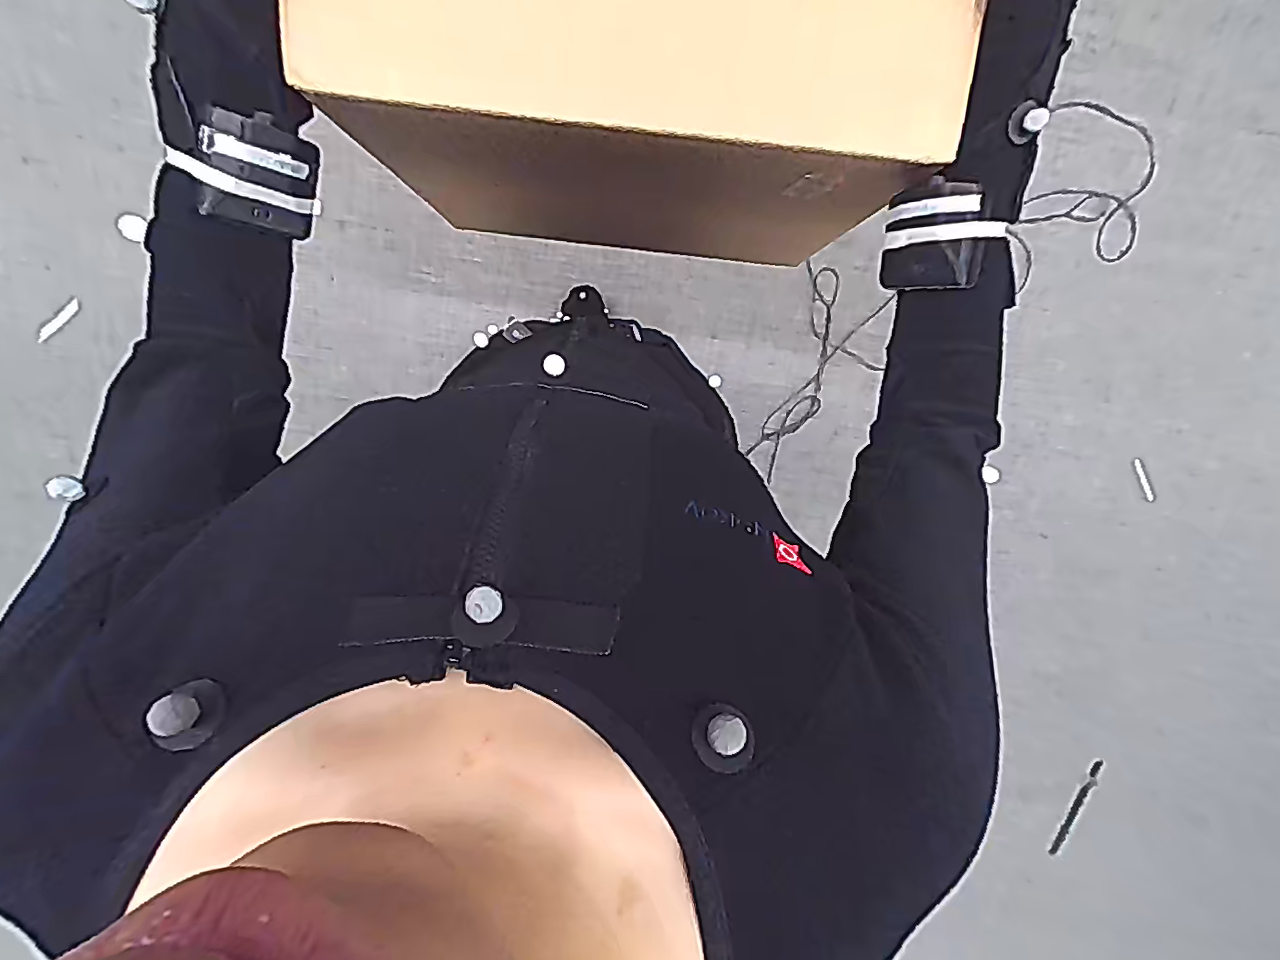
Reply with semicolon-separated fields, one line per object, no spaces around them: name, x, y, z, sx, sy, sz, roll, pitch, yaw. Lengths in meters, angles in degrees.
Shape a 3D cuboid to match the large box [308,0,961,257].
large box;0.002;-0.400;0.461;0.408;0.320;0.320;5;100;-3
